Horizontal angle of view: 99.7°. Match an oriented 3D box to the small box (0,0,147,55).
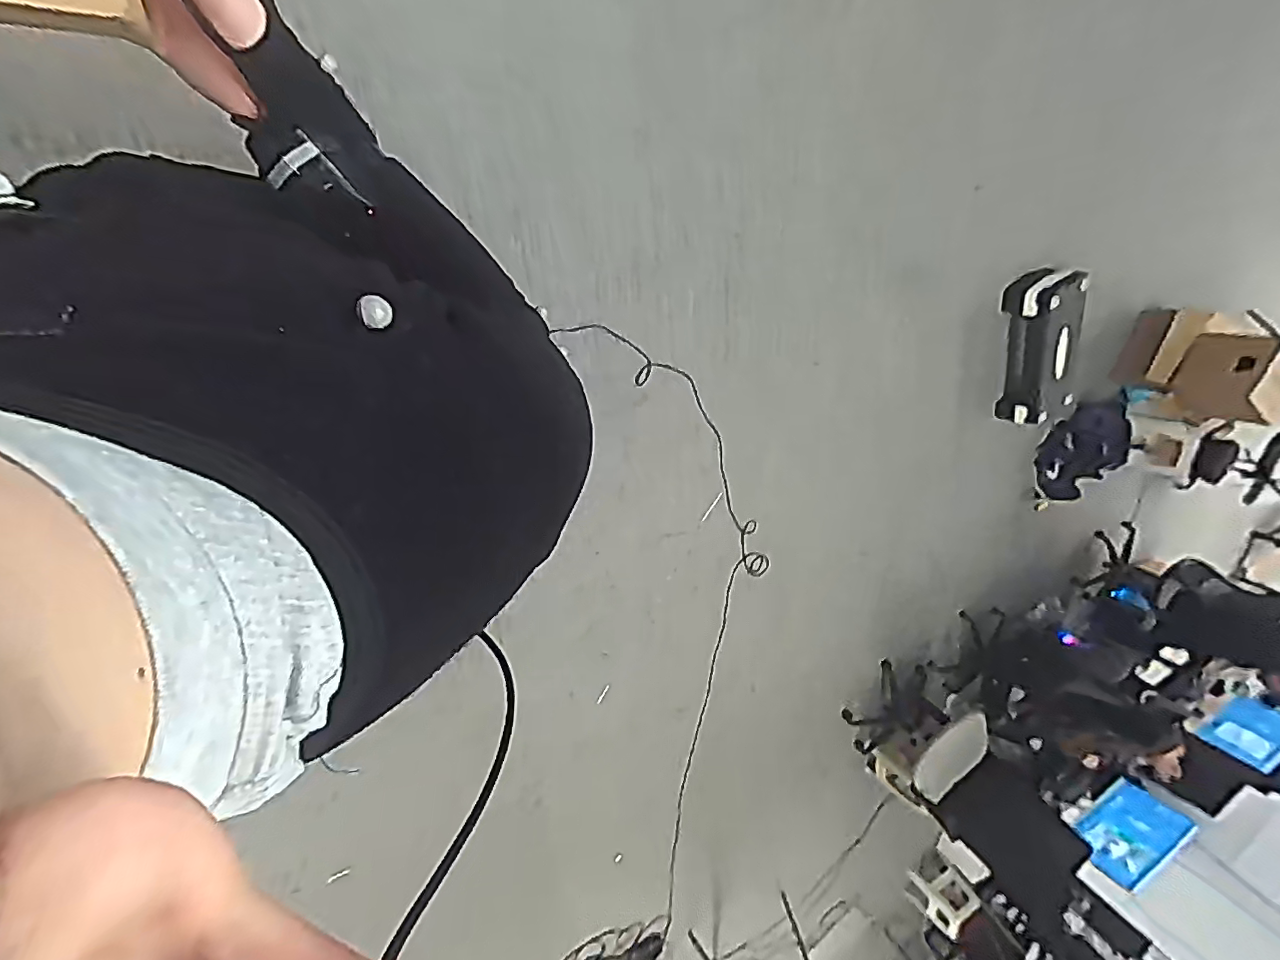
[{"bbox_3d":[-0.336,-0.295,0.216,0.168,0.176,0.179,-15,129,-30],"label":"small box"}]
